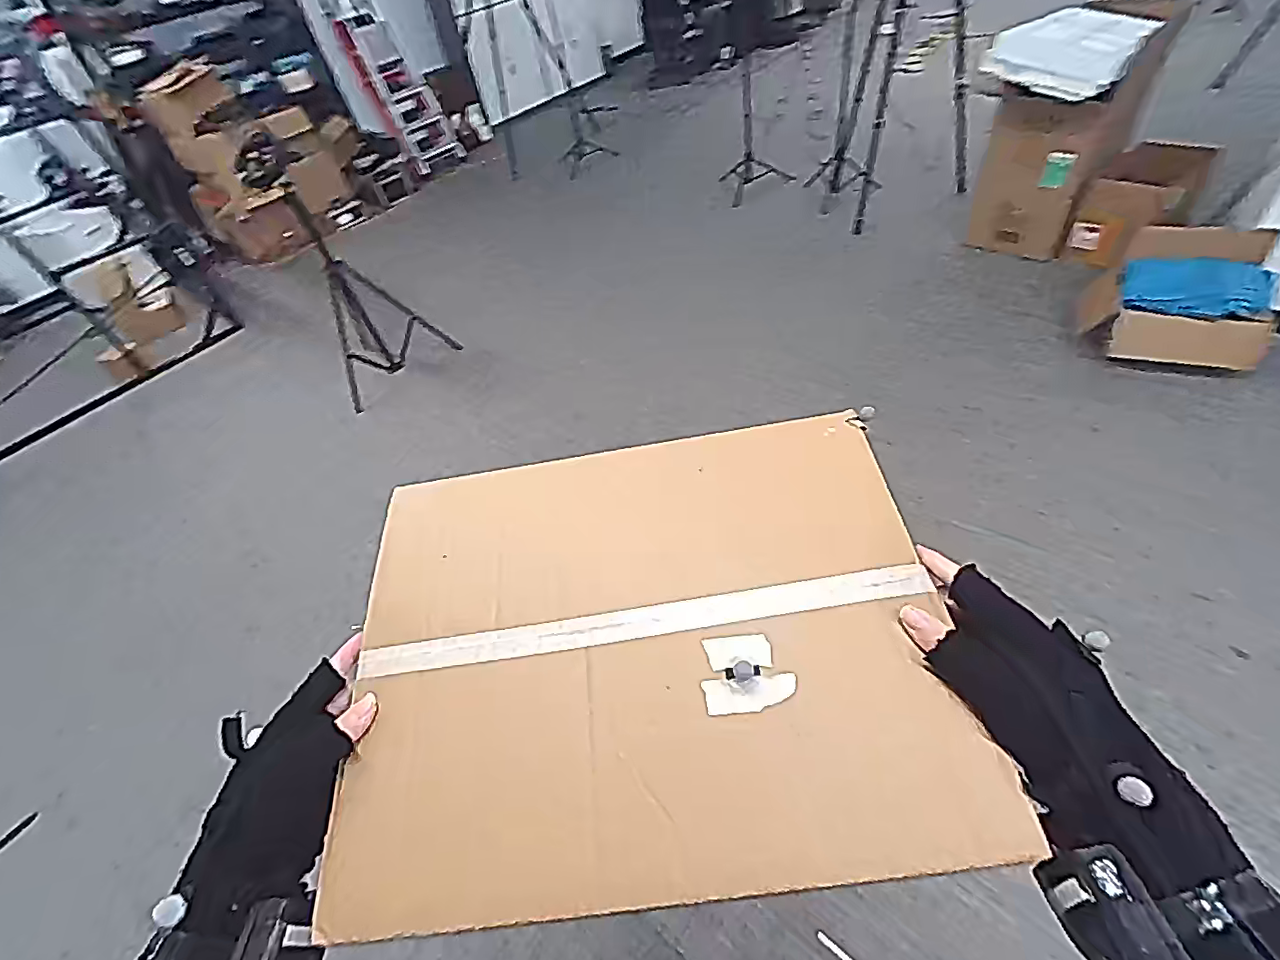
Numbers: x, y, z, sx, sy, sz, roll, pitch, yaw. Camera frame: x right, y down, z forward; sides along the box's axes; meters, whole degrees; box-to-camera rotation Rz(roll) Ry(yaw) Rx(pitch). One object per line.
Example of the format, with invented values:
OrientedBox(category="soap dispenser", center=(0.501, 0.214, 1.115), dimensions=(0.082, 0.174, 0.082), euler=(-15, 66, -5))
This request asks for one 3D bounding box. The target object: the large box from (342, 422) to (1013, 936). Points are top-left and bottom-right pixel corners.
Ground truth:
OrientedBox(category="large box", center=(0.017, 0.190, 0.516), dimensions=(0.408, 0.320, 0.320), euler=(-10, 55, 2))
